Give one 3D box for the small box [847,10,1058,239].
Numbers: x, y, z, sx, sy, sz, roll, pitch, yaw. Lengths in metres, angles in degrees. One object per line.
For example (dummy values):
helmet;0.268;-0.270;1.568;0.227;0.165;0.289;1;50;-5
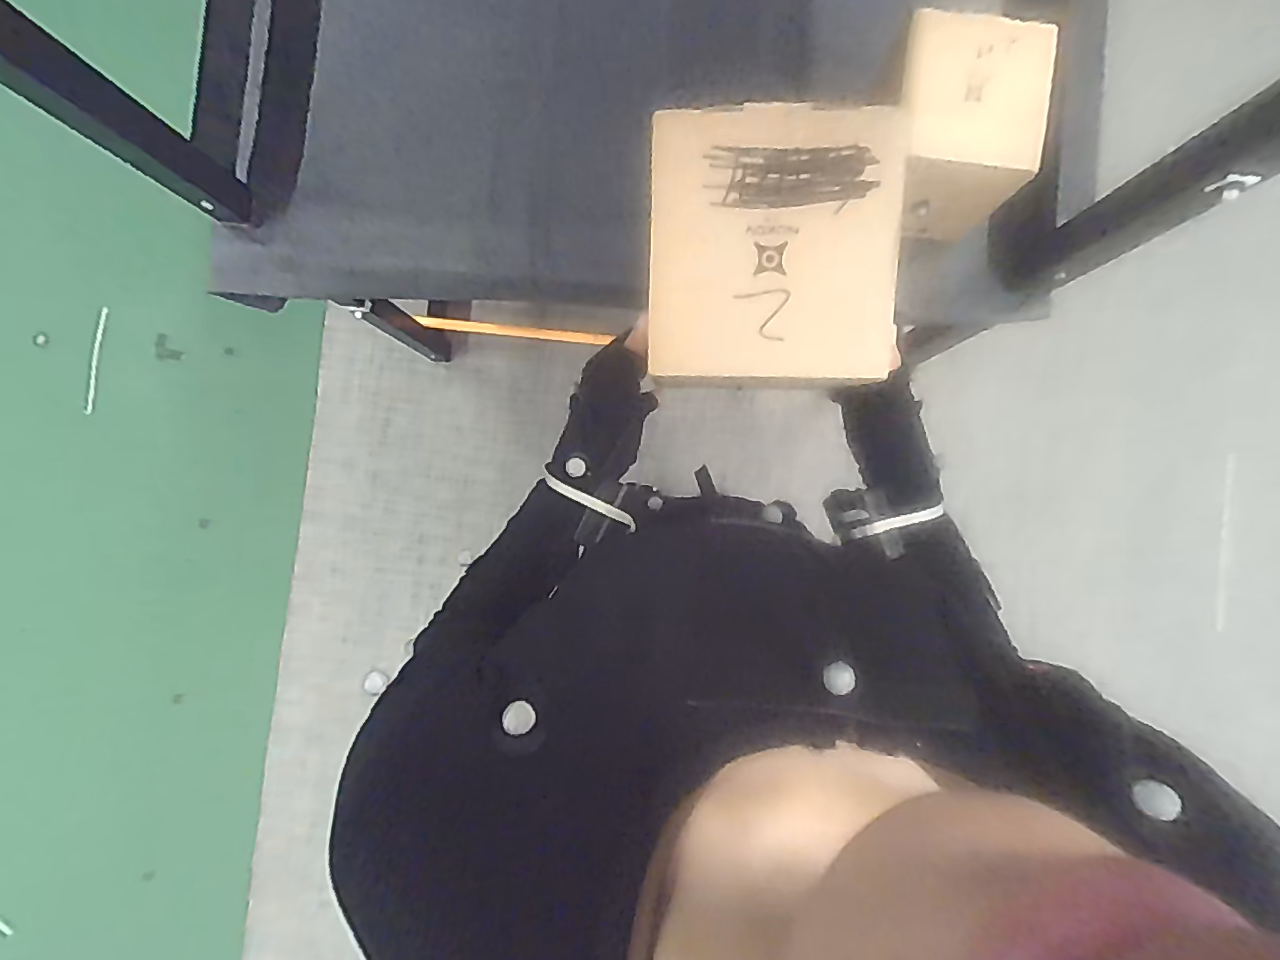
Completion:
small box;0.380;-0.436;0.691;0.168;0.176;0.179;9;88;2
